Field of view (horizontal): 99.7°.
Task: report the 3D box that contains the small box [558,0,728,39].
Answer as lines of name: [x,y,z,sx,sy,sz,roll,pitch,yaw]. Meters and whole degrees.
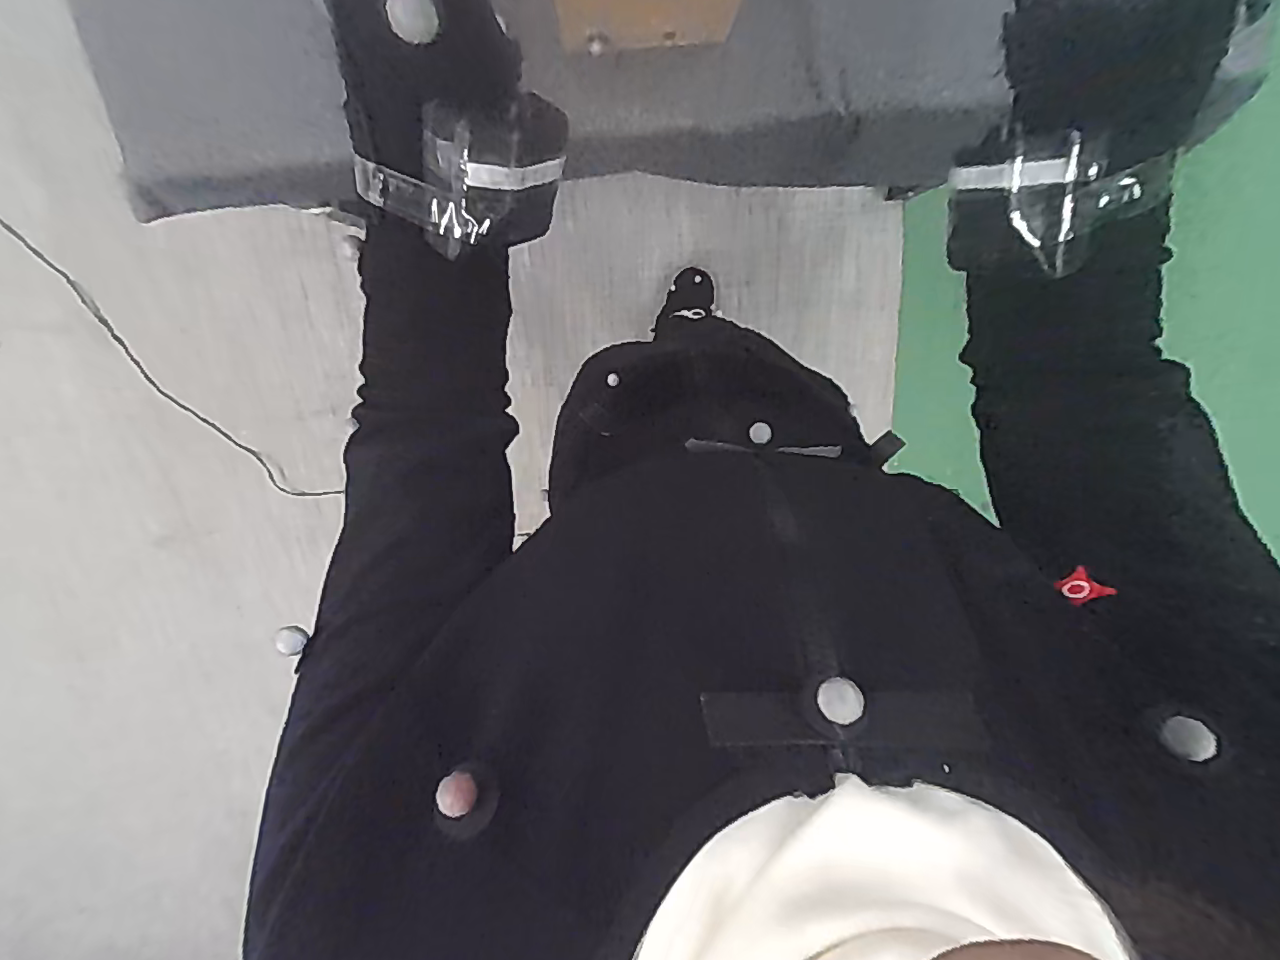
small box: [-0.002,-0.508,0.452,0.168,0.176,0.179,-8,108,1]
